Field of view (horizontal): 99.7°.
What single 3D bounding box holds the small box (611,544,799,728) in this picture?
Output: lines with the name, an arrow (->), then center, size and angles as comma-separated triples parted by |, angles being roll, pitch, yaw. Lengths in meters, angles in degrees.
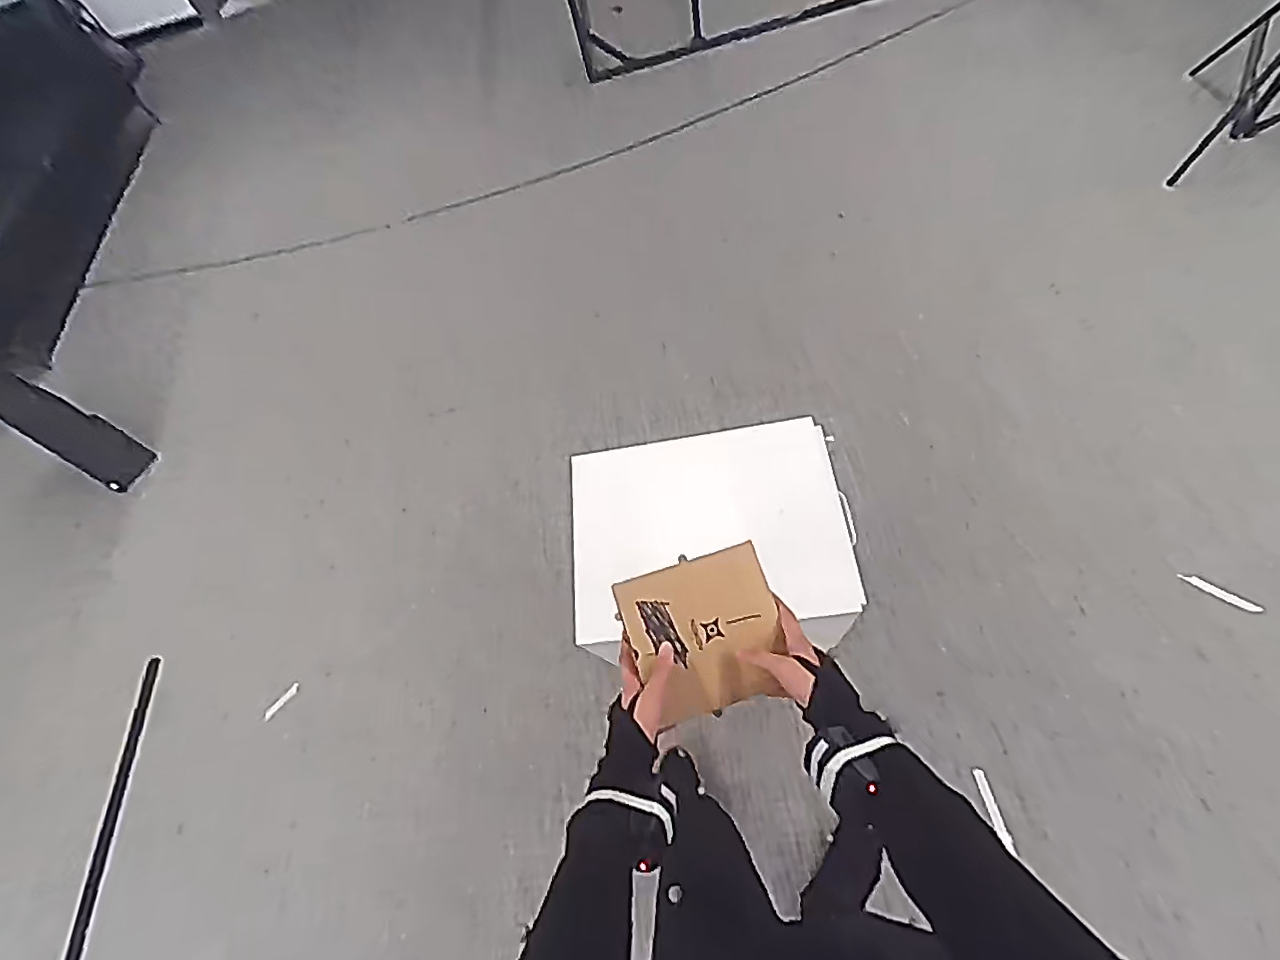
small box -> 0.075, 0.195, 0.690 | 0.179, 0.176, 0.168 | -18, 75, -4
